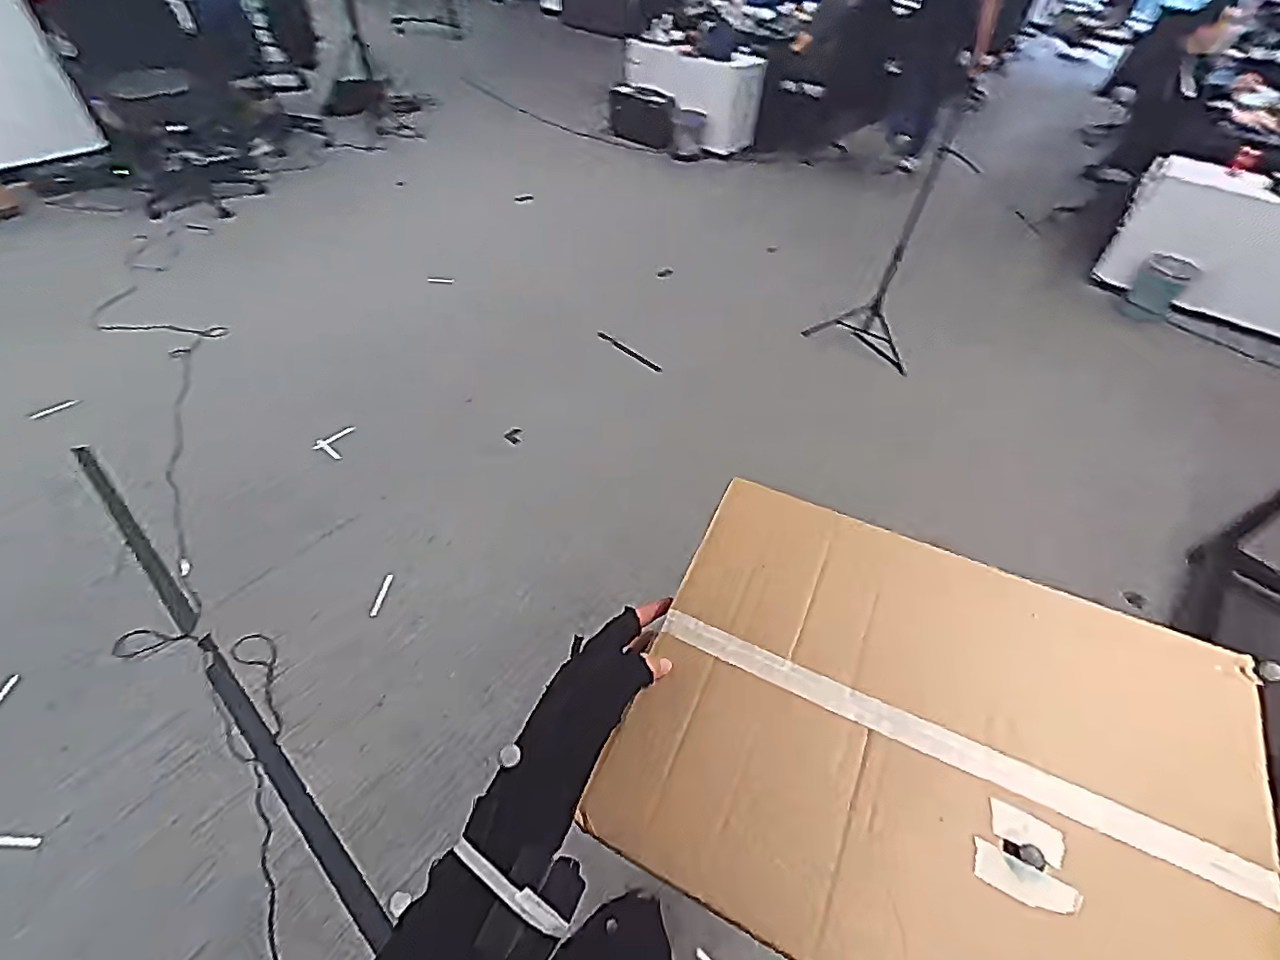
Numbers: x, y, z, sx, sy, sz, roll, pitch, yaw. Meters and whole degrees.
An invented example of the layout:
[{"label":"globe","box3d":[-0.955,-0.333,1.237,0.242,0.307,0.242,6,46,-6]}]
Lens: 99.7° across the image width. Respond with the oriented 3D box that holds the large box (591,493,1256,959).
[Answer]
[{"label":"large box","box3d":[0.212,0.272,0.521,0.408,0.320,0.320,20,60,17]}]
